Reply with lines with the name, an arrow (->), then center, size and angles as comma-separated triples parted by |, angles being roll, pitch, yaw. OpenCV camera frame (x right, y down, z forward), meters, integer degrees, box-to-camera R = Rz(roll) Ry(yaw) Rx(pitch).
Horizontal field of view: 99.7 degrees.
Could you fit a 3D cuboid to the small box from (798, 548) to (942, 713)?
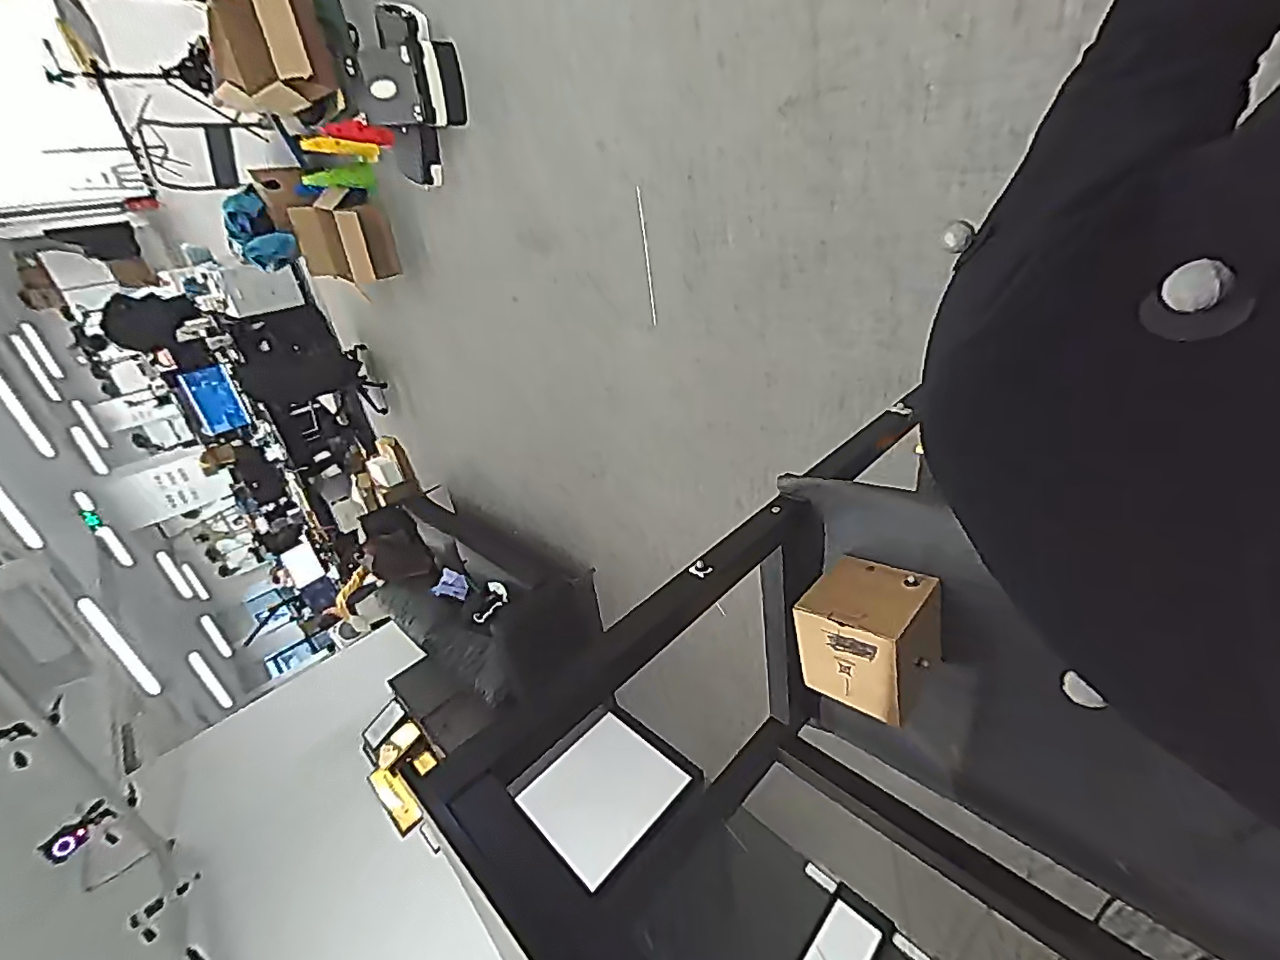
small box -> 0.386, 0.238, 0.902 | 0.168, 0.176, 0.179 | 13, 126, 46
